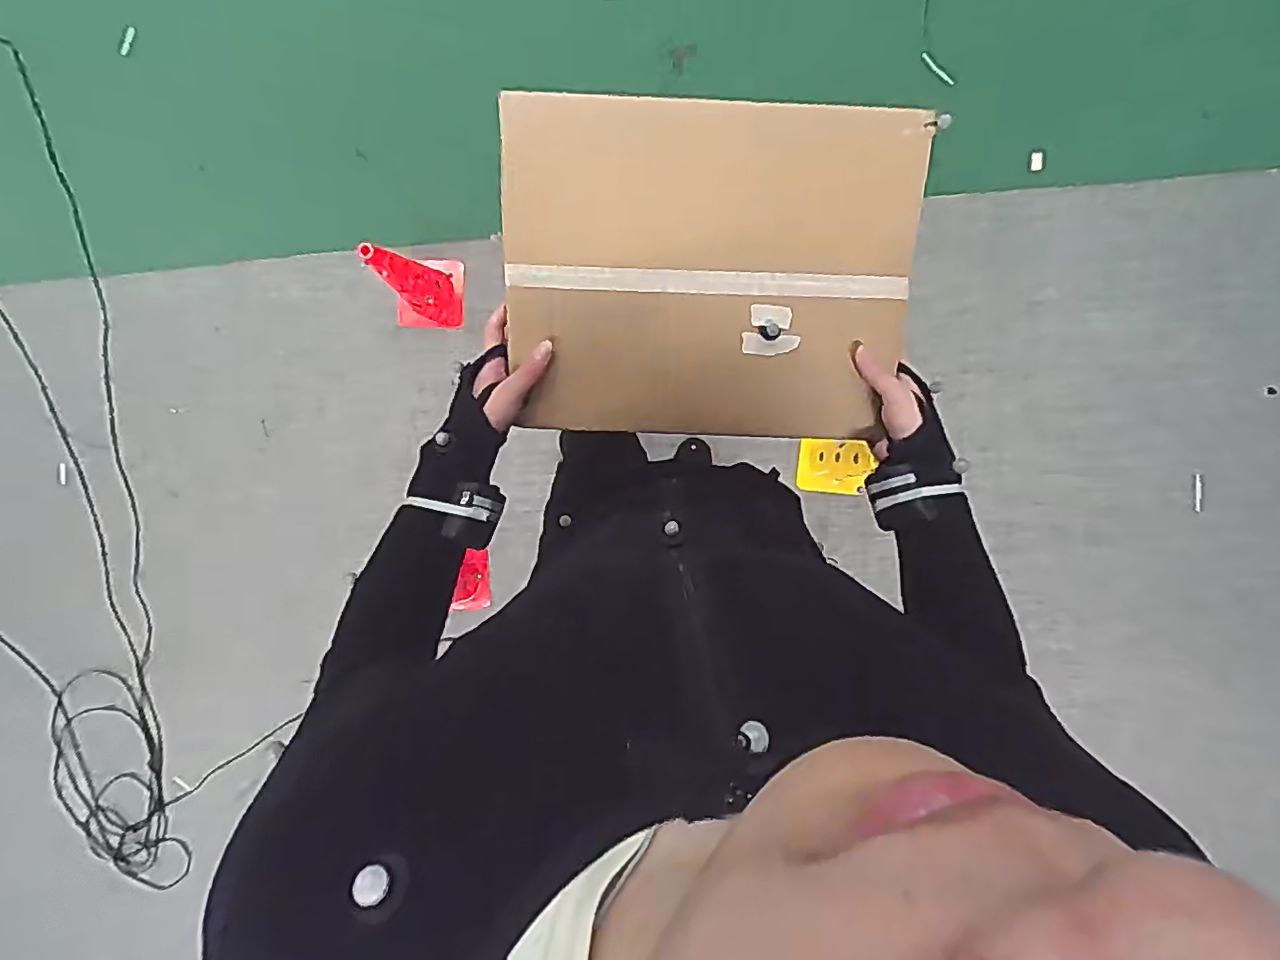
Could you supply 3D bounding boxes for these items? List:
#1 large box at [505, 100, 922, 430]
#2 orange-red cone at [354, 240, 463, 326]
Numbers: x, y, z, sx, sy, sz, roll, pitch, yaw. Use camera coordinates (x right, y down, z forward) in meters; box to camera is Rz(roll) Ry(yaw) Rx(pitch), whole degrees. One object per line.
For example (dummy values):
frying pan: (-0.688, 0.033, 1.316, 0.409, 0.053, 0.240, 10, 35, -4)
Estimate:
large box: (0.065, -0.246, 0.693, 0.408, 0.320, 0.320, 1, 107, -1)
orange-red cone: (-0.646, -0.556, 1.449, 0.199, 0.360, 0.198, 4, 93, 5)
